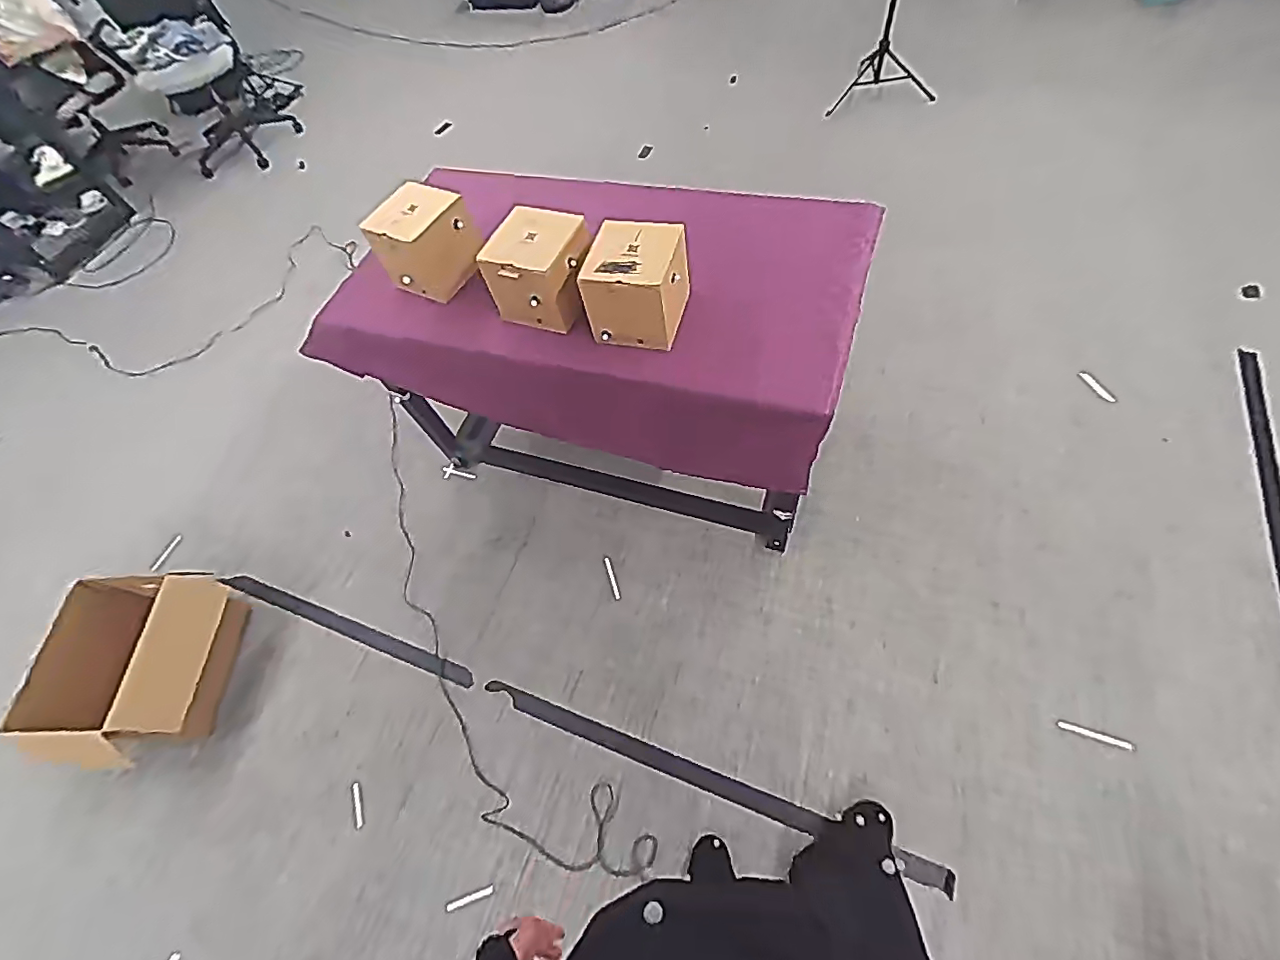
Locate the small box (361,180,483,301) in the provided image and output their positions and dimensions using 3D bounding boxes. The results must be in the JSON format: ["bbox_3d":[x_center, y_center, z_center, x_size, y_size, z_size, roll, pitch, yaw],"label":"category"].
[{"bbox_3d":[-0.489,-0.551,1.251,0.168,0.176,0.179,24,68,21],"label":"small box"}]

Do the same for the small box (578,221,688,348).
[{"bbox_3d":[-0.003,-0.389,1.085,0.168,0.176,0.179,11,62,15],"label":"small box"}]

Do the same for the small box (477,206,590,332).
[{"bbox_3d":[-0.207,-0.445,1.151,0.168,0.176,0.179,18,65,17],"label":"small box"}]
